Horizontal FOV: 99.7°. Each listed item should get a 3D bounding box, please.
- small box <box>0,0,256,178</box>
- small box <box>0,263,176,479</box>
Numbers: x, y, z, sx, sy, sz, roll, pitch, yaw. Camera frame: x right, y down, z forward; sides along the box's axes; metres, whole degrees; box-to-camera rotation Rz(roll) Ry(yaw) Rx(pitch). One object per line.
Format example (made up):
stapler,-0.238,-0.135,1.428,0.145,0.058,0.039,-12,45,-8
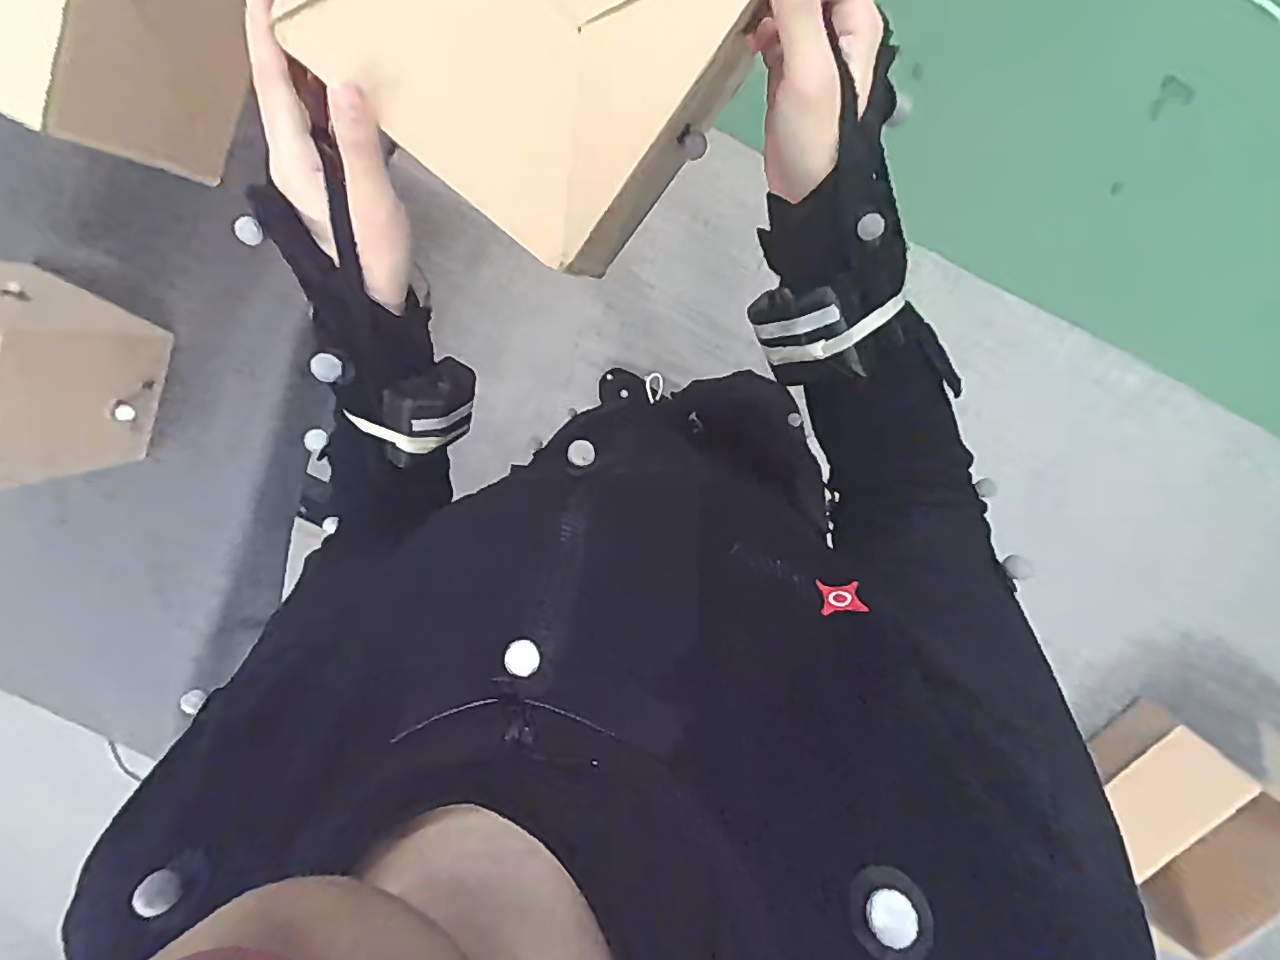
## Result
small box,-0.488,-0.404,0.476,0.168,0.176,0.179,28,104,-3
small box,-0.648,-0.118,0.558,0.179,0.176,0.168,27,105,-3
